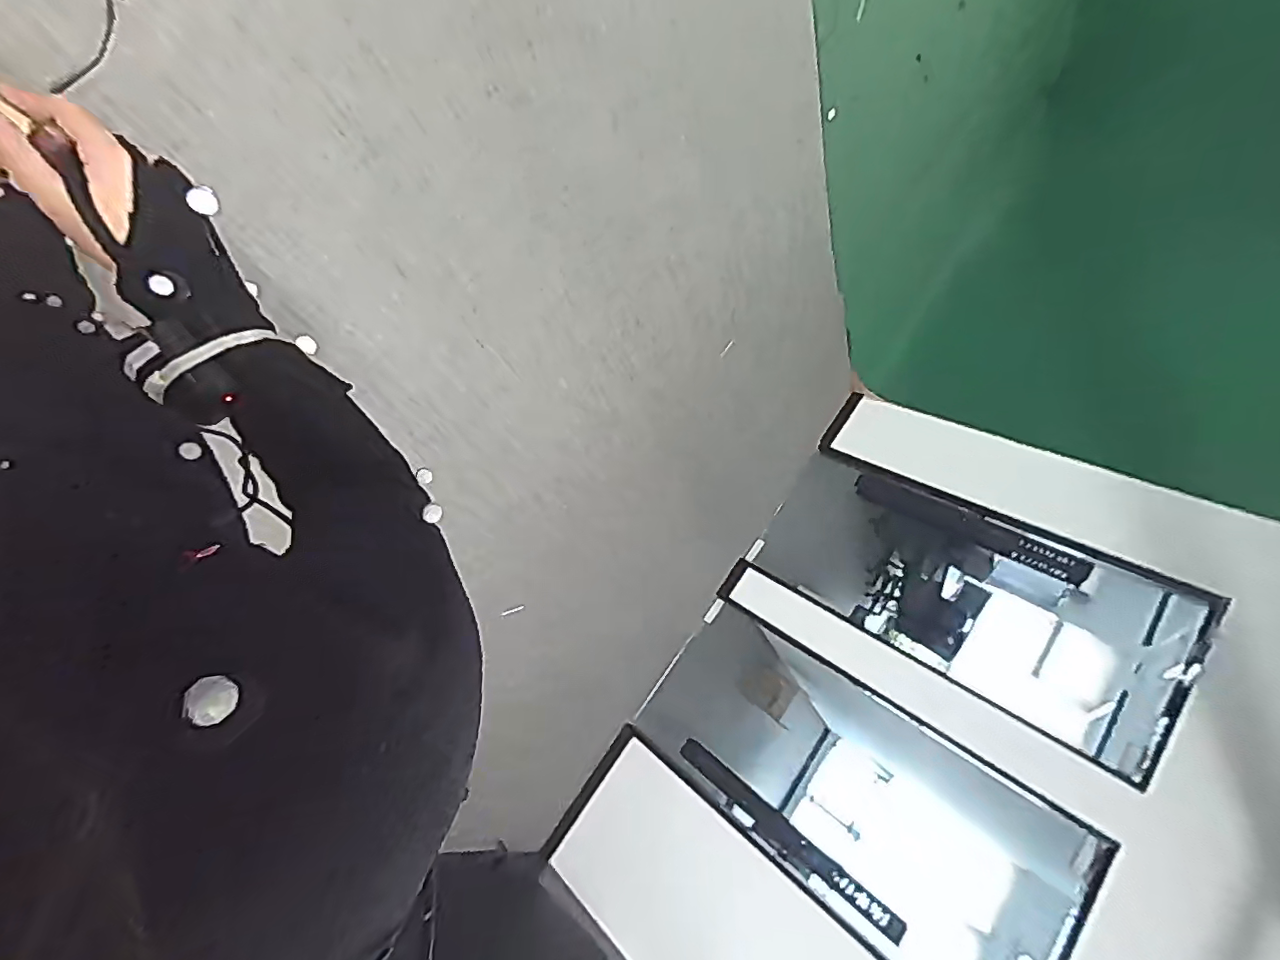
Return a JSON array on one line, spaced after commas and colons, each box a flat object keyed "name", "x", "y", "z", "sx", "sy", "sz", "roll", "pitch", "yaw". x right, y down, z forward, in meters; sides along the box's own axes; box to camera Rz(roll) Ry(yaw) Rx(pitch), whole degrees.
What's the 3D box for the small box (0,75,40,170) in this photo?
[{"name": "small box", "x": -0.483, "y": -0.210, "z": 0.288, "sx": 0.179, "sy": 0.176, "sz": 0.168, "roll": -52, "pitch": 141, "yaw": -2}]
